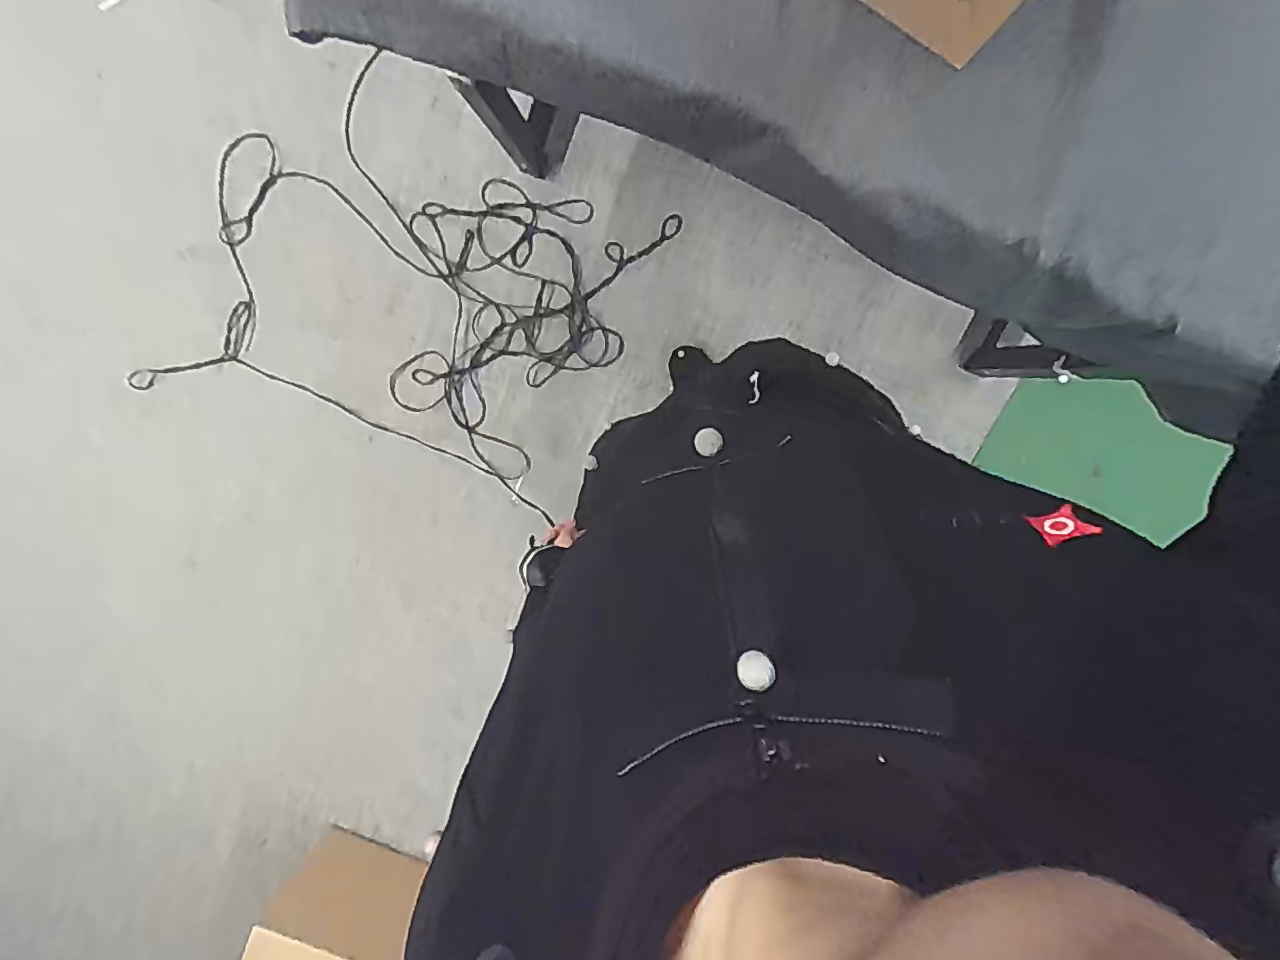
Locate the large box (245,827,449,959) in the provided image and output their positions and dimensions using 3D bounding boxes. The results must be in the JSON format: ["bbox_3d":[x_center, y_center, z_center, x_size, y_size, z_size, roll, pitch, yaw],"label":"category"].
[{"bbox_3d":[-0.823,1.289,1.533,0.408,0.320,0.320,23,101,0],"label":"large box"}]
